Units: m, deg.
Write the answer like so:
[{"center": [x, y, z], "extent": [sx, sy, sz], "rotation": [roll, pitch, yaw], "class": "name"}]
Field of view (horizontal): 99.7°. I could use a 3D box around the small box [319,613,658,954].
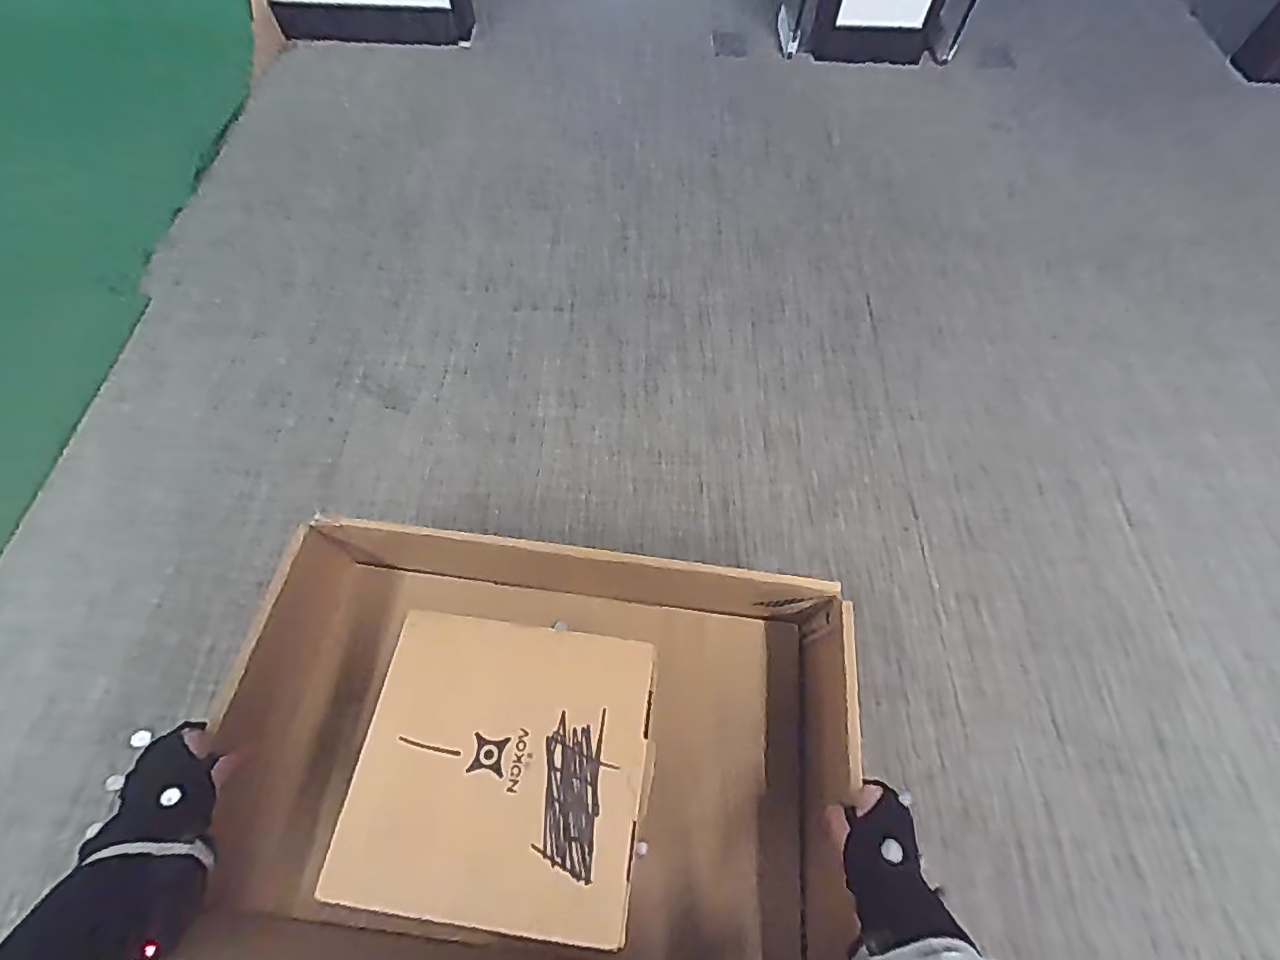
[{"center": [-0.083, 0.211, 0.404], "extent": [0.179, 0.176, 0.168], "rotation": [7, 62, 5], "class": "small box"}]
